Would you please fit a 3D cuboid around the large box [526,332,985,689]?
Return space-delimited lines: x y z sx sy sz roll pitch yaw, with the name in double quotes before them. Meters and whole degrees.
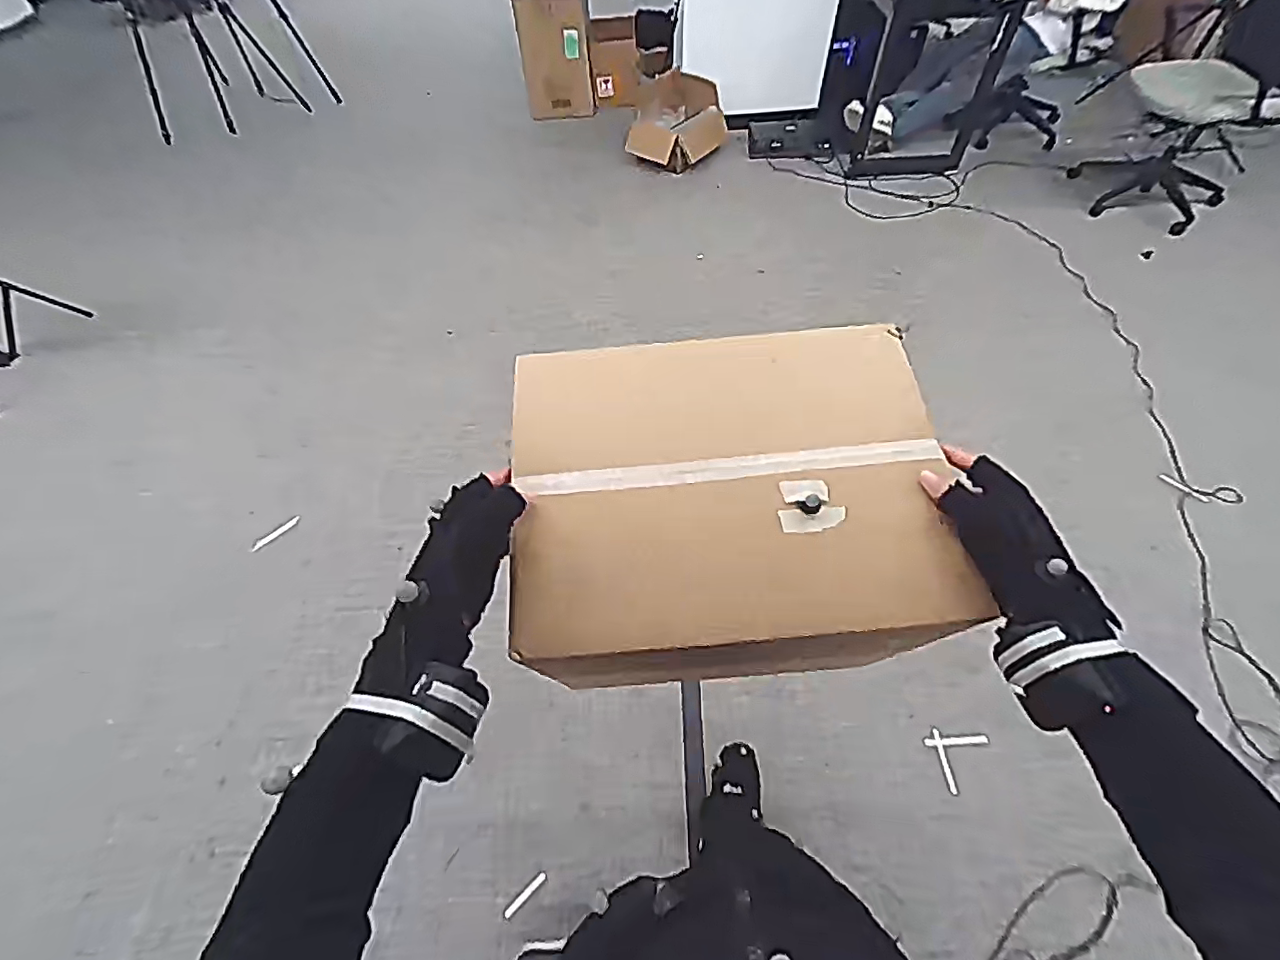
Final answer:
"large box" 0.091 0.058 0.658 0.408 0.320 0.320 -5 65 -1
